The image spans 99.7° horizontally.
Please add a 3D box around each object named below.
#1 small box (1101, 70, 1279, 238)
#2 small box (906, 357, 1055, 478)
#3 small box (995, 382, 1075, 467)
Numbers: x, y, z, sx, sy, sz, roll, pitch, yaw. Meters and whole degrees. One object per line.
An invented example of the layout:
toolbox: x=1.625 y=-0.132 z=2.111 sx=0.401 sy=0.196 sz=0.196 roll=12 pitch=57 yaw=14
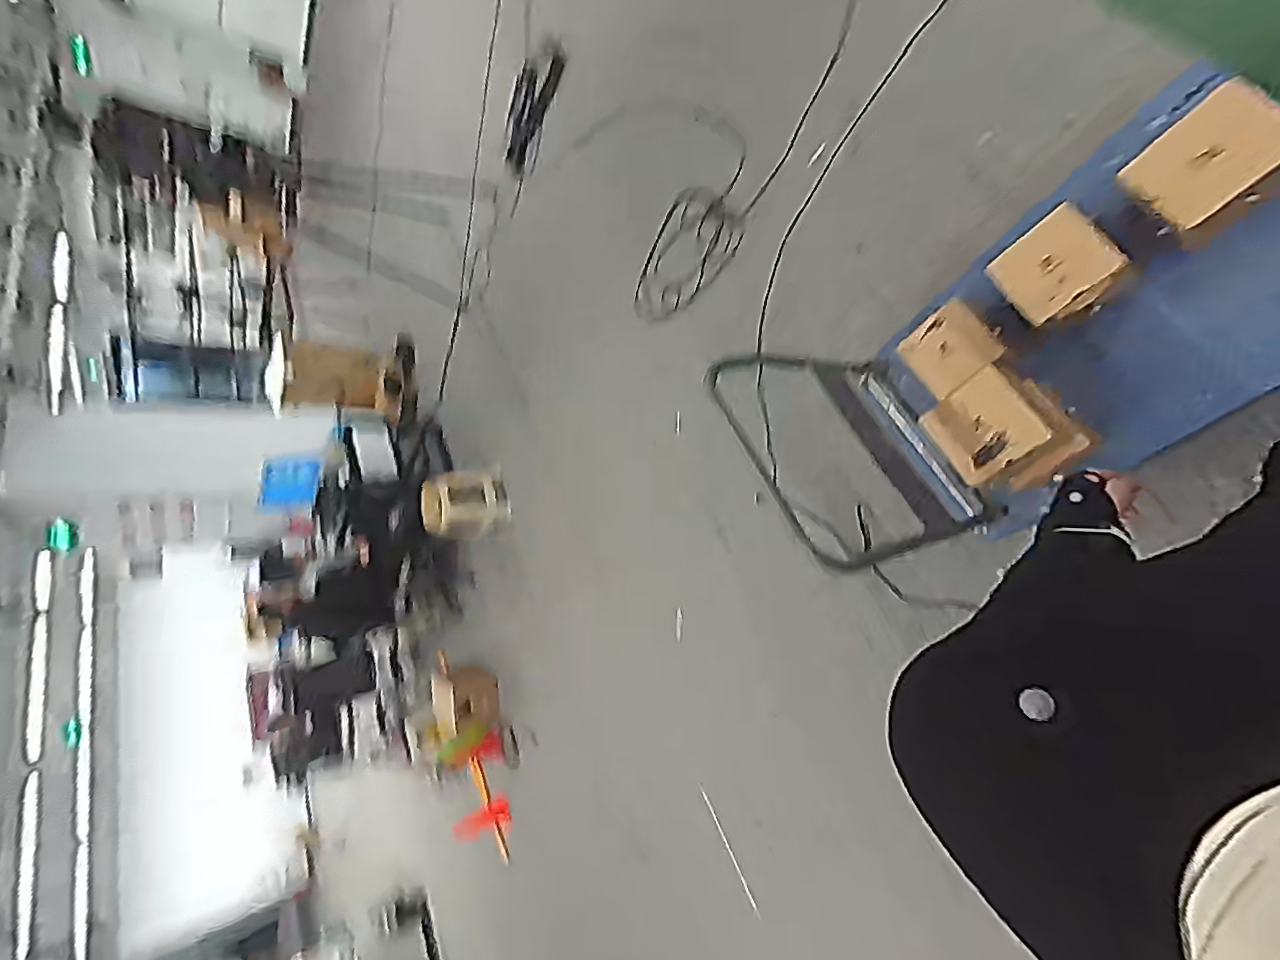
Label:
small box: x=0.991 y=-0.569 z=0.970 sx=0.179 sy=0.176 sz=0.168 roll=-47 pitch=60 yaw=40
small box: x=0.690 y=-0.124 z=1.093 sx=0.168 sy=0.176 sz=0.179 roll=-48 pitch=58 yaw=38
small box: x=0.829 y=-0.115 z=1.199 sx=0.179 sy=0.176 sz=0.168 roll=-8 pitch=89 yaw=49
